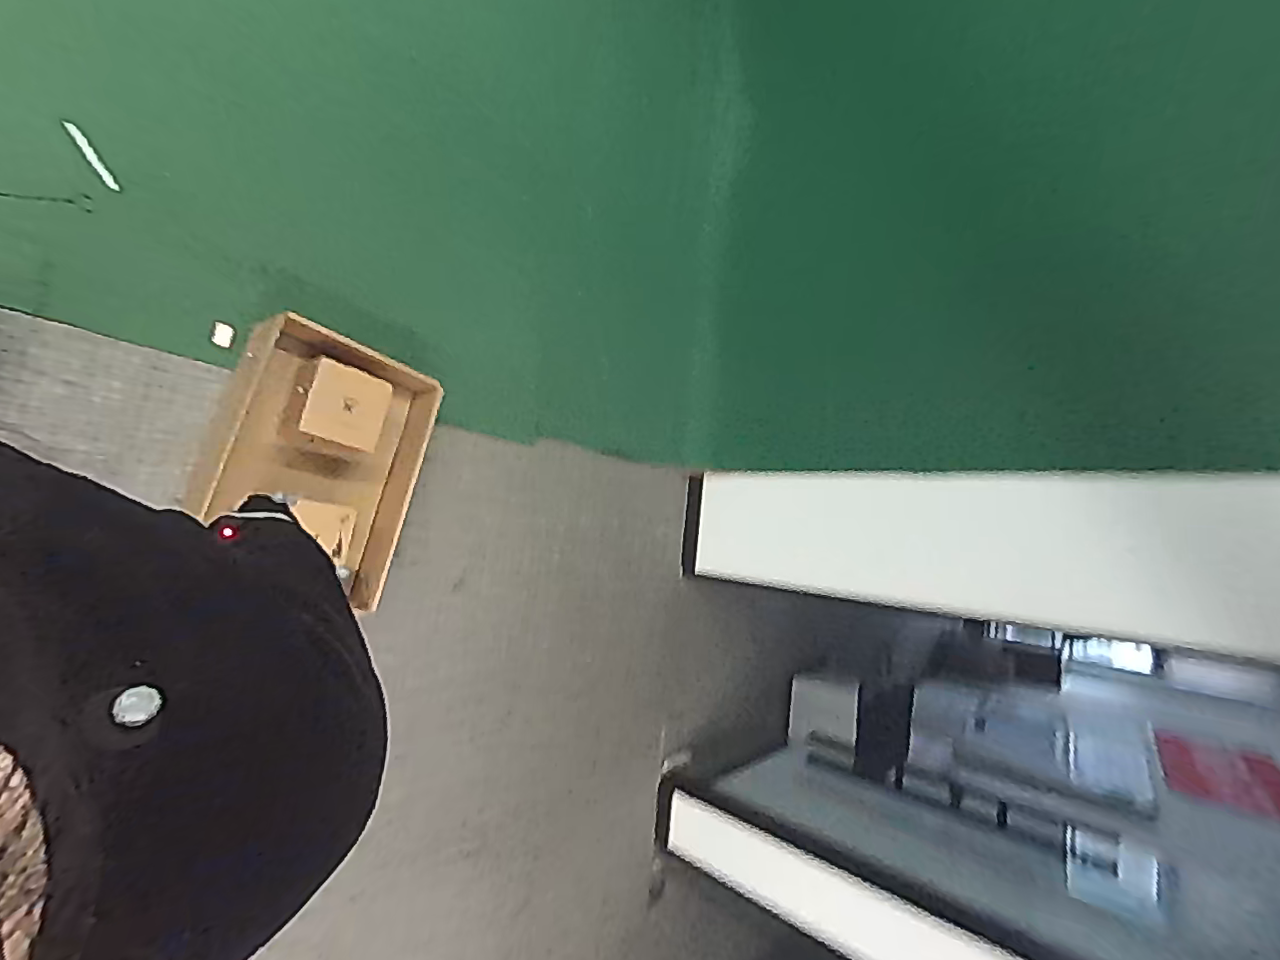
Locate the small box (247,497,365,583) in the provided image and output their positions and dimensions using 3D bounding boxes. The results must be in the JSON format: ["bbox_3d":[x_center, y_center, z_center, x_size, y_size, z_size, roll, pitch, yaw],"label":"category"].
[{"bbox_3d":[-0.768,0.136,1.241,0.179,0.176,0.168,19,77,-45],"label":"small box"}]
